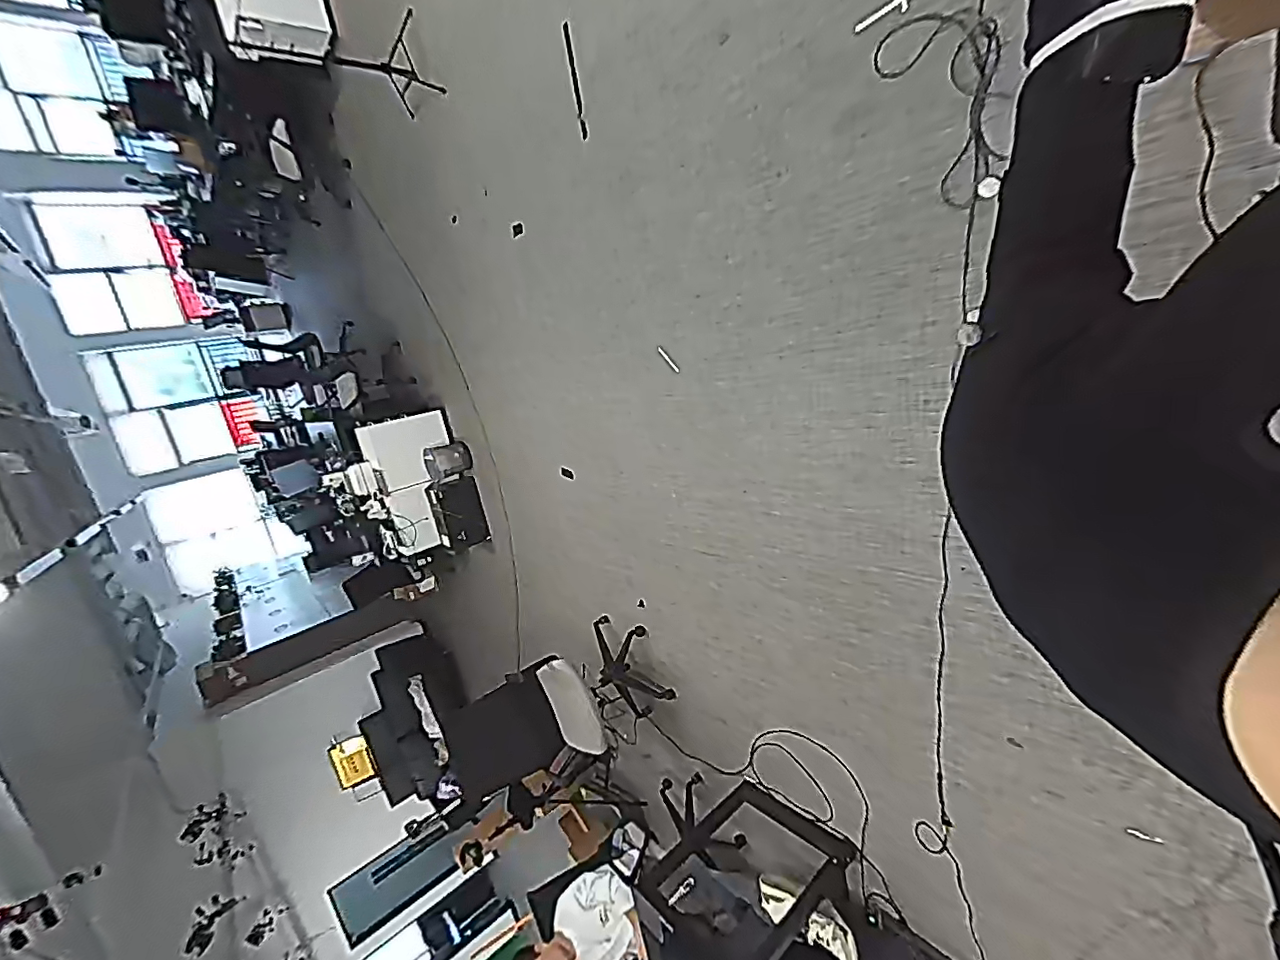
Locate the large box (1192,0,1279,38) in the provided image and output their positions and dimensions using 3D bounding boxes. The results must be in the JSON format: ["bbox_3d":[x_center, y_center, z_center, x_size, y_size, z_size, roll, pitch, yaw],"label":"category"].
[{"bbox_3d":[0.546,-0.502,0.247,0.408,0.320,0.320,9,117,51],"label":"large box"}]
